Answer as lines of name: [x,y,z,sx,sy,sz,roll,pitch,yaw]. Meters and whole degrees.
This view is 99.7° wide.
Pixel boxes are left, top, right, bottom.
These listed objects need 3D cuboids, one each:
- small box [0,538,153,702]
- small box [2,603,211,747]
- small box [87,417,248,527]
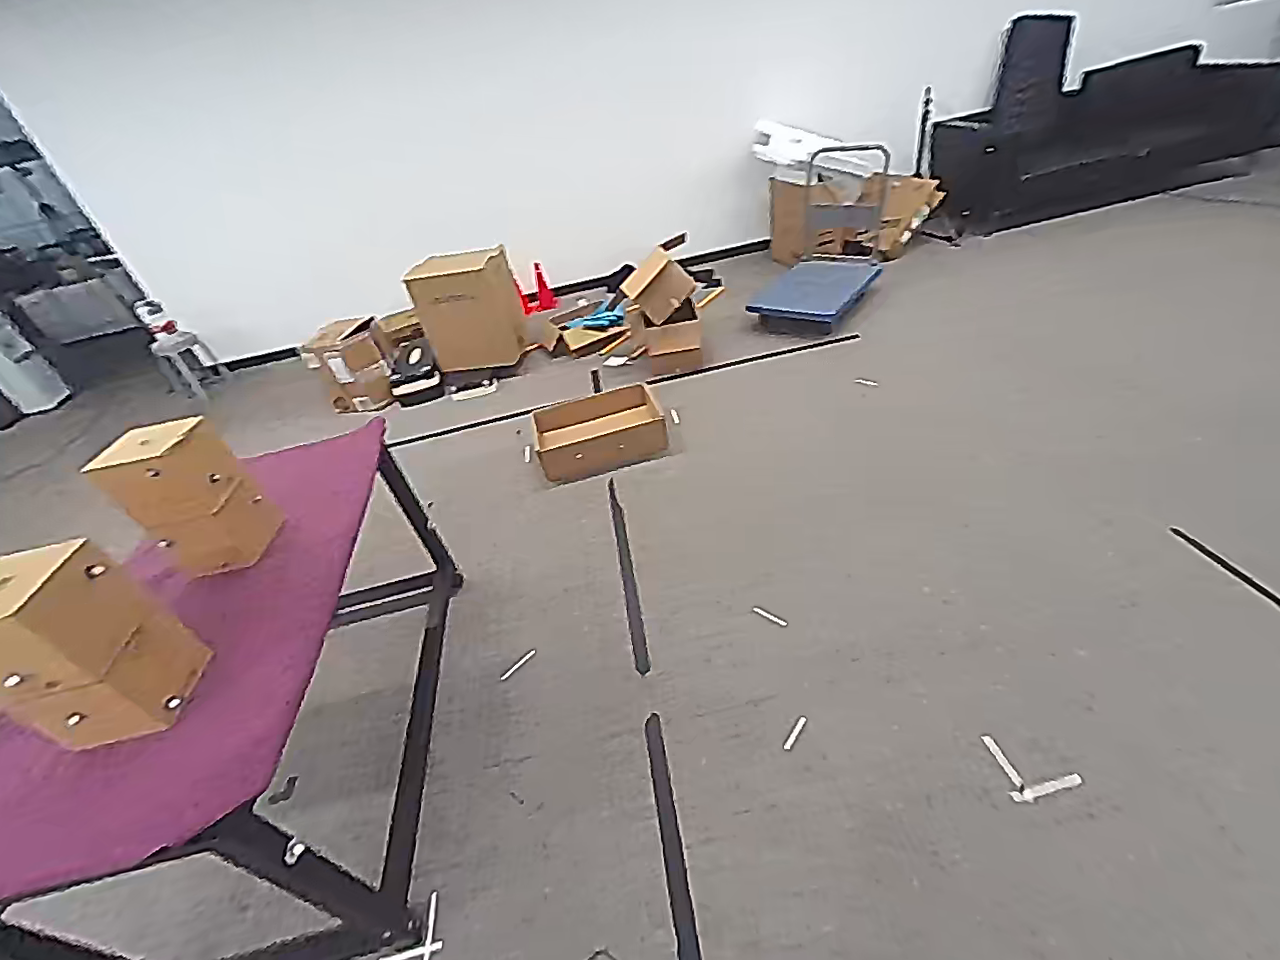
small box: [-0.964,0.227,0.883,0.168,0.176,0.179,-14,37,-2]
small box: [-0.946,0.355,0.985,0.179,0.176,0.168,-13,37,-1]
small box: [-1.047,-0.015,1.217,0.179,0.176,0.168,-12,37,0]
